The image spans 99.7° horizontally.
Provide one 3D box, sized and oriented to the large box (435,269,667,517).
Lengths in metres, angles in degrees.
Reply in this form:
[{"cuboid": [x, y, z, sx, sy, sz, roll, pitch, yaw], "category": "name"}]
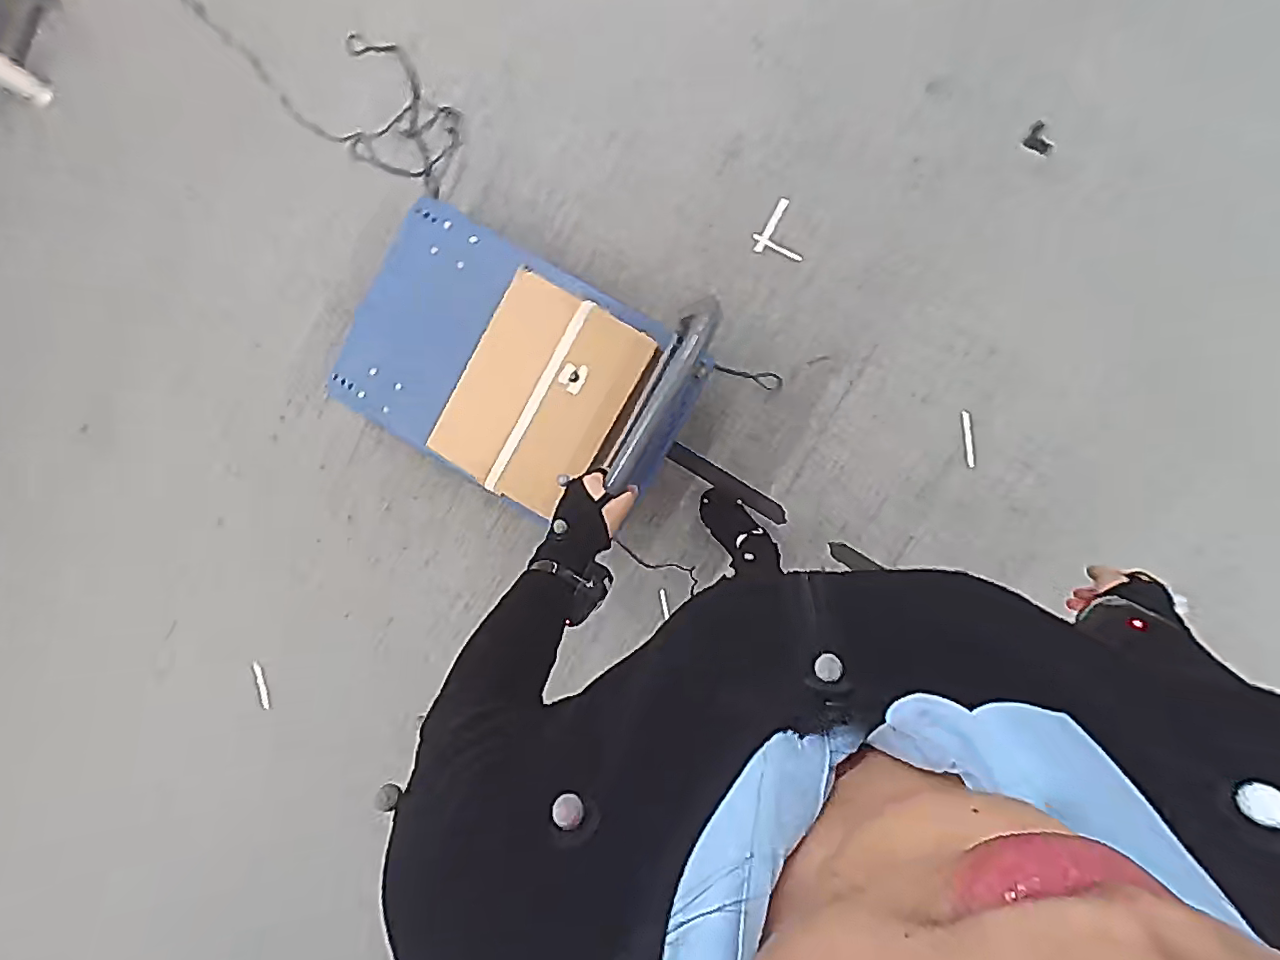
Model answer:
[{"cuboid": [-0.174, -0.173, 1.207, 0.320, 0.320, 0.408, 30, 95, 4], "category": "large box"}]
